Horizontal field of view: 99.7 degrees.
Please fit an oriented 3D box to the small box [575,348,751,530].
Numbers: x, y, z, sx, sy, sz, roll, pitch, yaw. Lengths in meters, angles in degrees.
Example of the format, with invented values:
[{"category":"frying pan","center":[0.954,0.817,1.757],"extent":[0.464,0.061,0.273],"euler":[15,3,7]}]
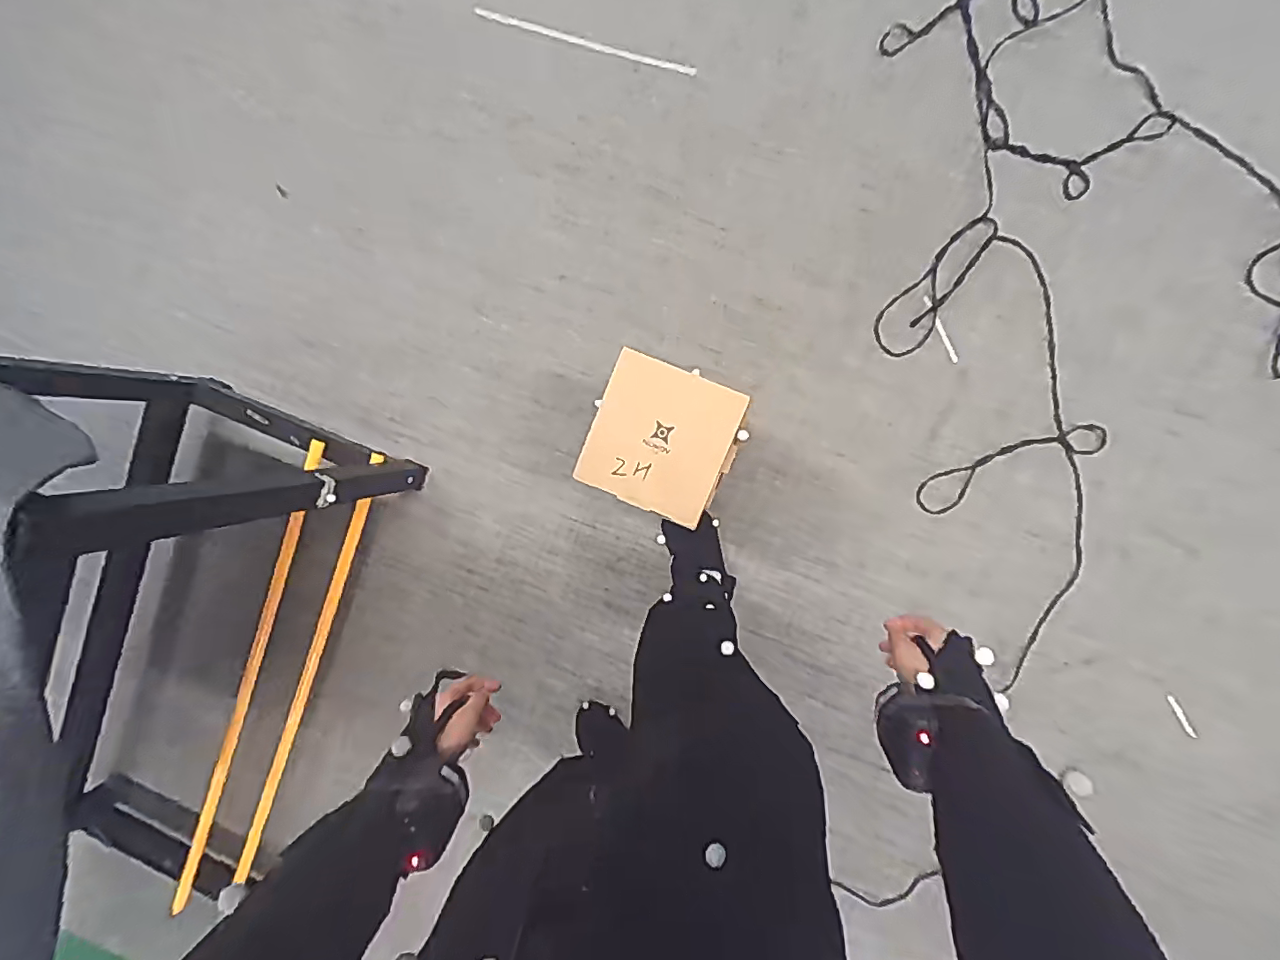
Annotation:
[{"category":"small box","center":[0.034,-0.055,0.727],"extent":[0.168,0.176,0.179],"euler":[23,98,6]}]
